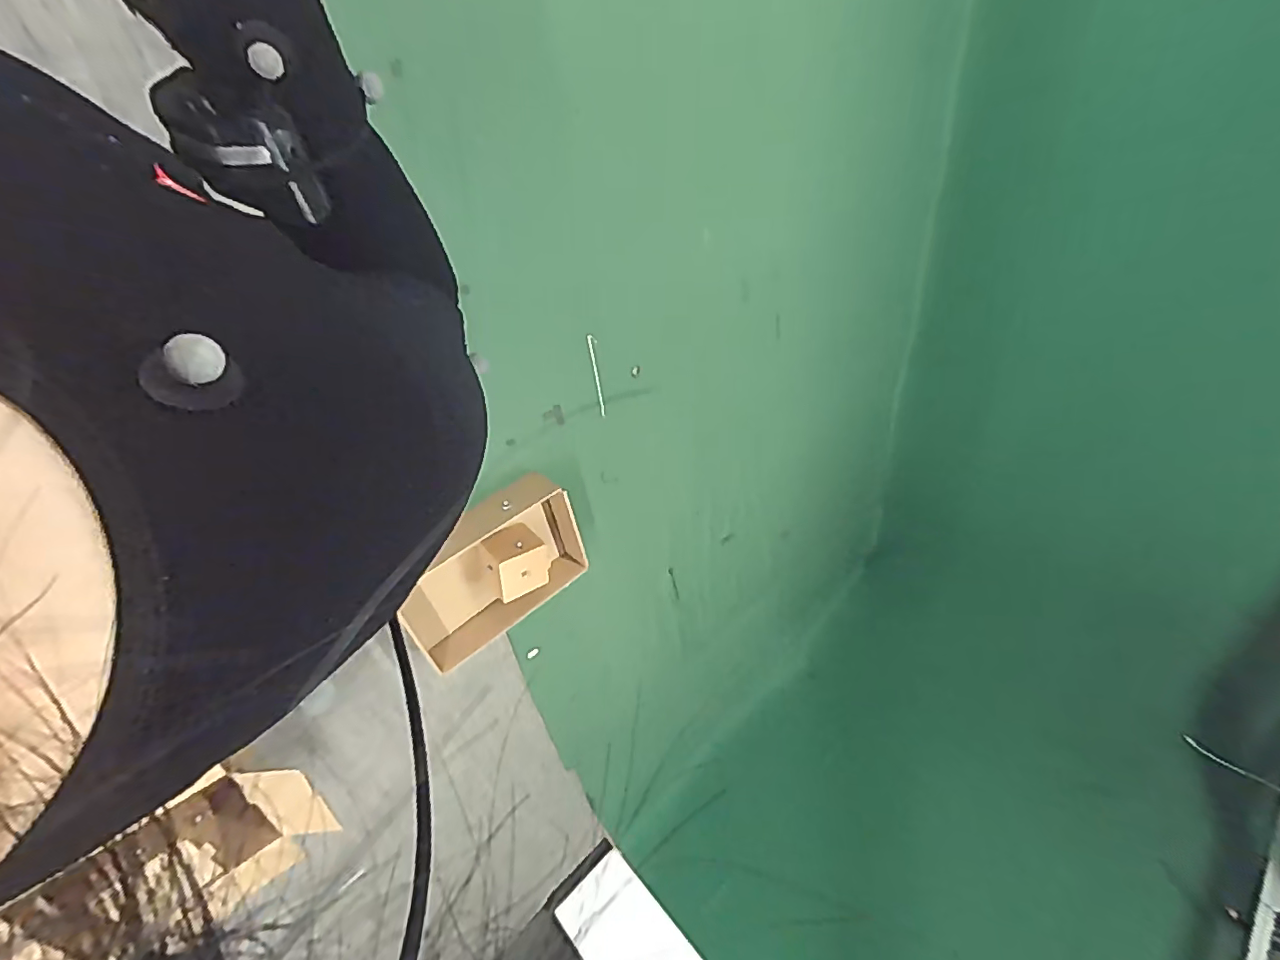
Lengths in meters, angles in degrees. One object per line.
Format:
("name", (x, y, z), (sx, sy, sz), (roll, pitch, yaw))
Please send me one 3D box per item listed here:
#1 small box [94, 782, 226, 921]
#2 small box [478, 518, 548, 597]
("small box", (-1.112, 0.851, 1.254), (0.179, 0.176, 0.168), (-31, 130, -29))
("small box", (-0.431, 0.255, 1.820), (0.179, 0.176, 0.168), (-22, 128, -35))
